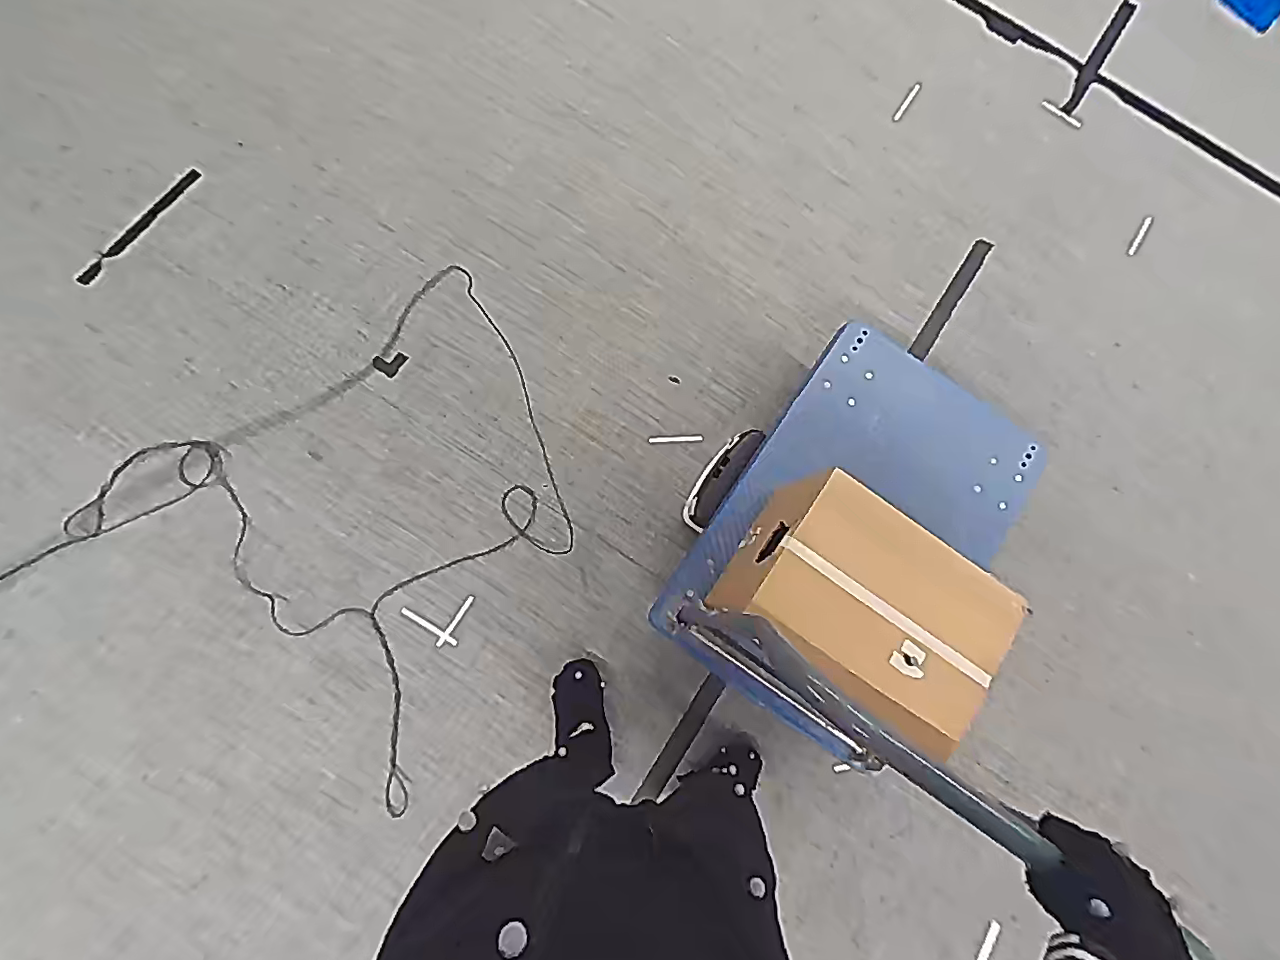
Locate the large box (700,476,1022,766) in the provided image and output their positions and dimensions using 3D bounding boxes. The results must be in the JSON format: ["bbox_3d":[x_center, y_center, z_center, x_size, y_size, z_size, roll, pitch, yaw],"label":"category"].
[{"bbox_3d":[0.384,0.245,1.032,0.408,0.320,0.320,36,81,0],"label":"large box"}]
